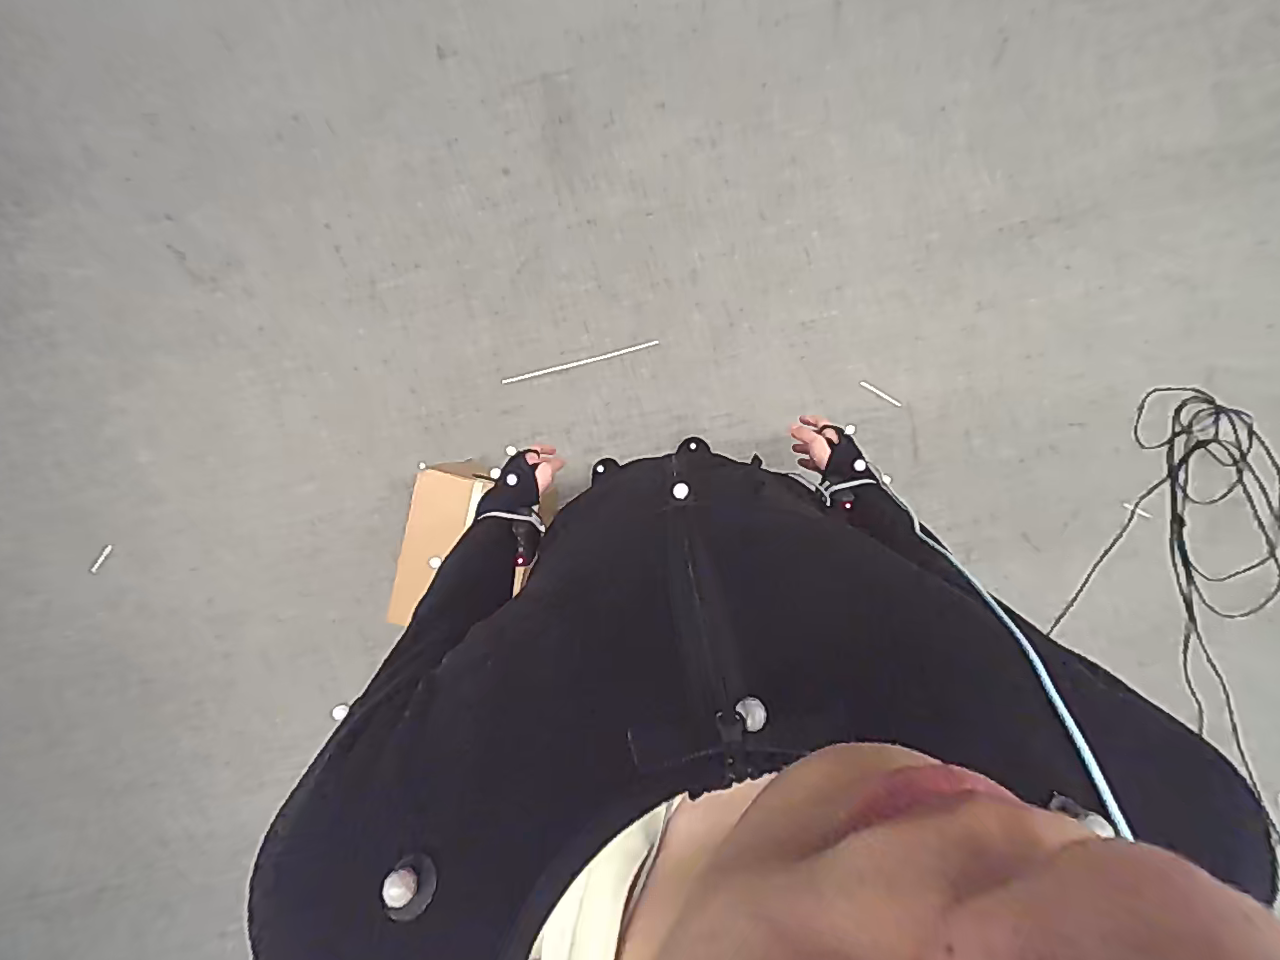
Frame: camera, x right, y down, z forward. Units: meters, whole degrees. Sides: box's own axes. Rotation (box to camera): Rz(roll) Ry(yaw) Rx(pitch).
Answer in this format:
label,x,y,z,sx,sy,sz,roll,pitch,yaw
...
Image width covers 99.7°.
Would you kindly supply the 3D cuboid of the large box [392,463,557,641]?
label,x,y,z,sx,sy,sz,roll,pitch,yaw
large box,-0.440,0.181,1.510,0.320,0.320,0.408,13,93,-2
